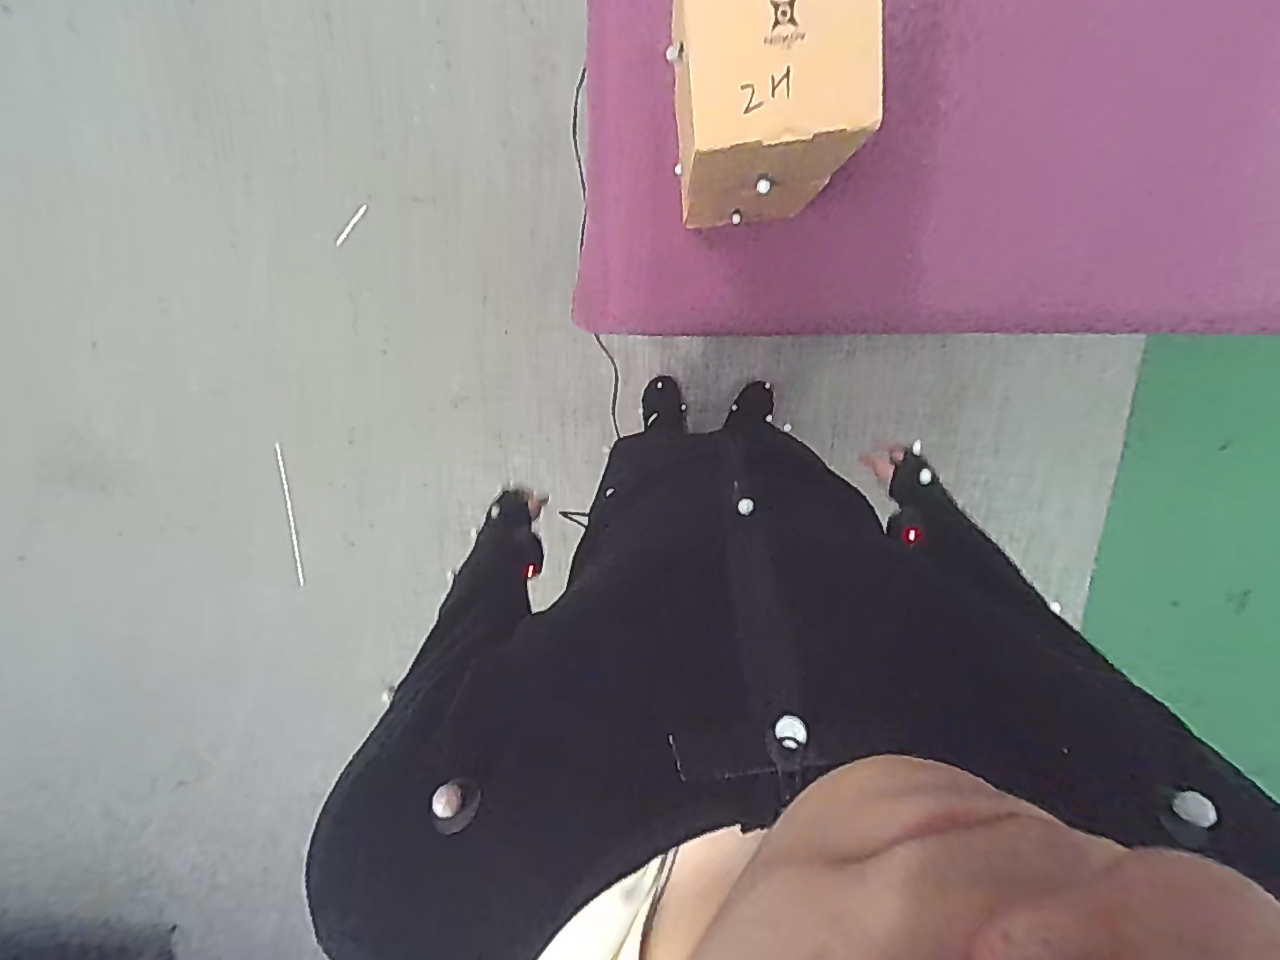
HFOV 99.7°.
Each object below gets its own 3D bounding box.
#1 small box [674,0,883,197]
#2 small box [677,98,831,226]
[{"bbox_3d":[0.123,-0.404,0.533,0.168,0.176,0.179,-6,103,4],"label":"small box"},{"bbox_3d":[0.137,-0.443,0.692,0.168,0.176,0.179,-5,104,4],"label":"small box"}]
